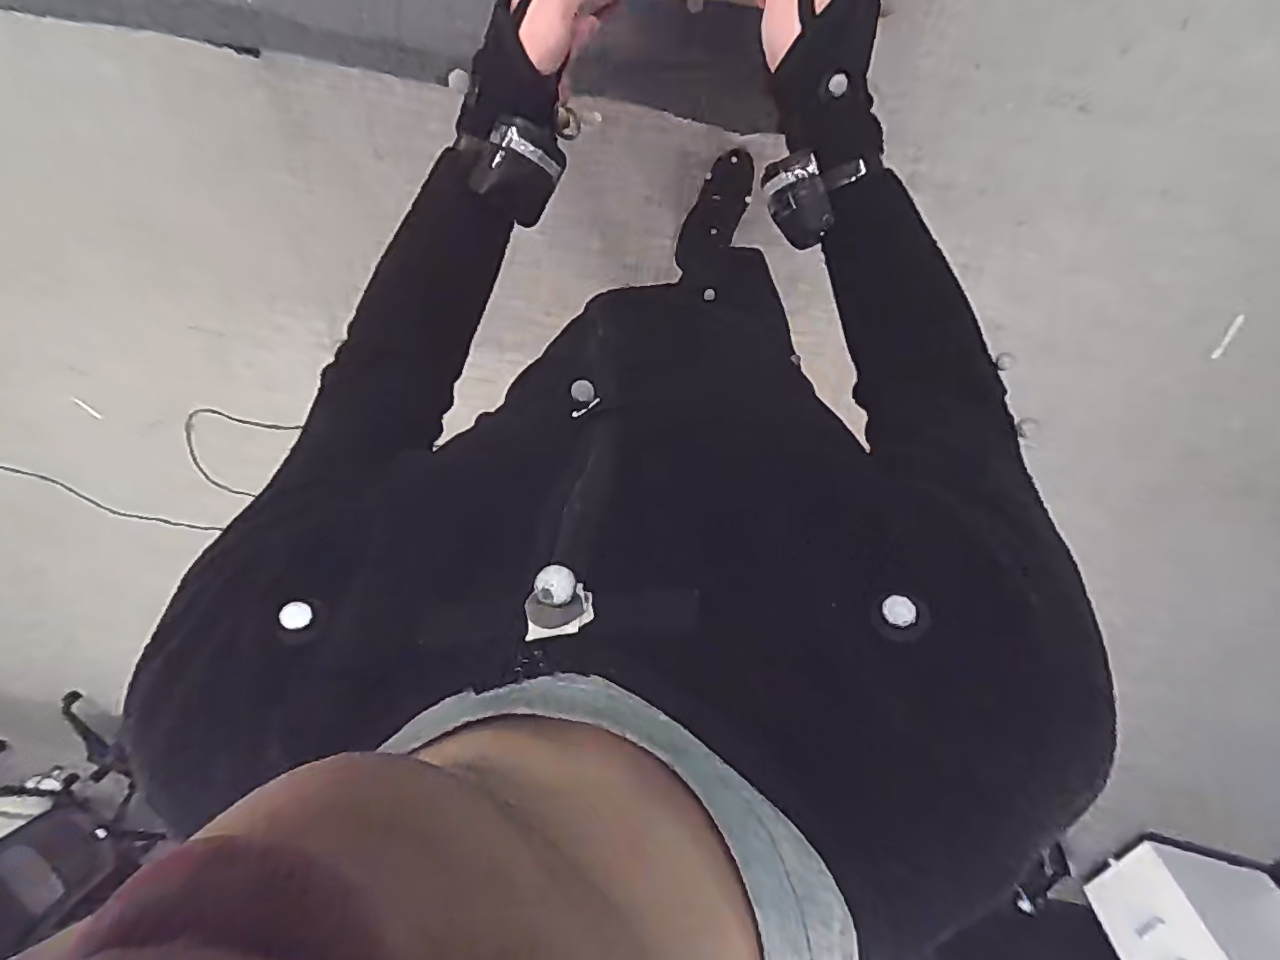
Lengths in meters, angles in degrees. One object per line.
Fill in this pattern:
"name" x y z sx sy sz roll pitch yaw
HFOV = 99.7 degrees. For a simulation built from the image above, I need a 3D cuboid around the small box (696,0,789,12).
"small box" 0.061 -0.486 0.414 0.168 0.176 0.179 10 127 2
